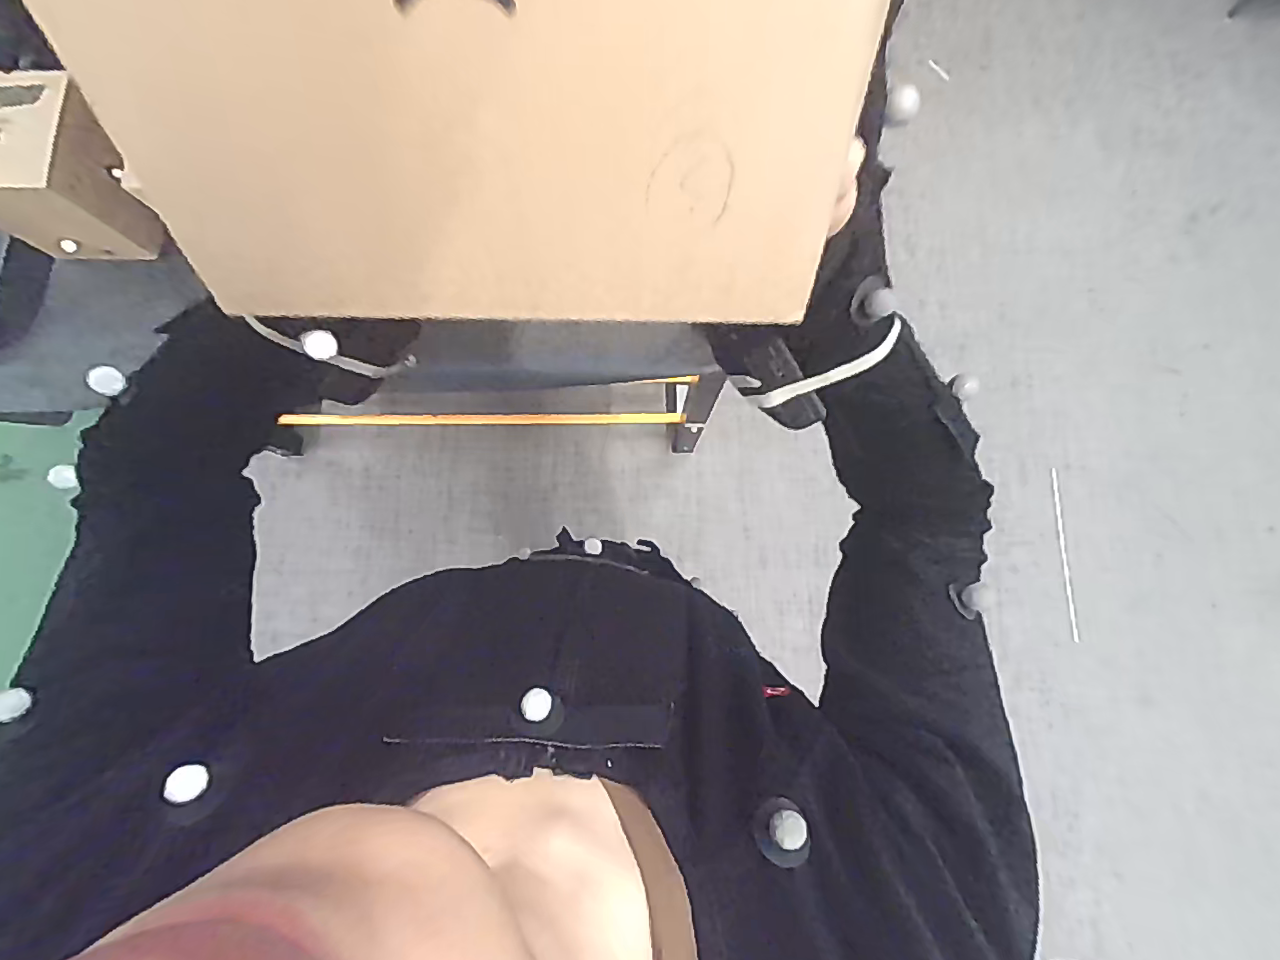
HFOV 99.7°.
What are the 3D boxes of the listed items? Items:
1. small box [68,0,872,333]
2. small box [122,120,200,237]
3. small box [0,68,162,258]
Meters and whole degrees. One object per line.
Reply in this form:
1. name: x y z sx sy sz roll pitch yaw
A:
1. small box: -0.034 -0.164 0.156 0.168 0.179 0.176 0 47 -2
2. small box: -0.583 -0.448 0.784 0.168 0.176 0.179 0 81 0
3. small box: -0.835 -0.448 0.780 0.168 0.176 0.179 1 82 0
